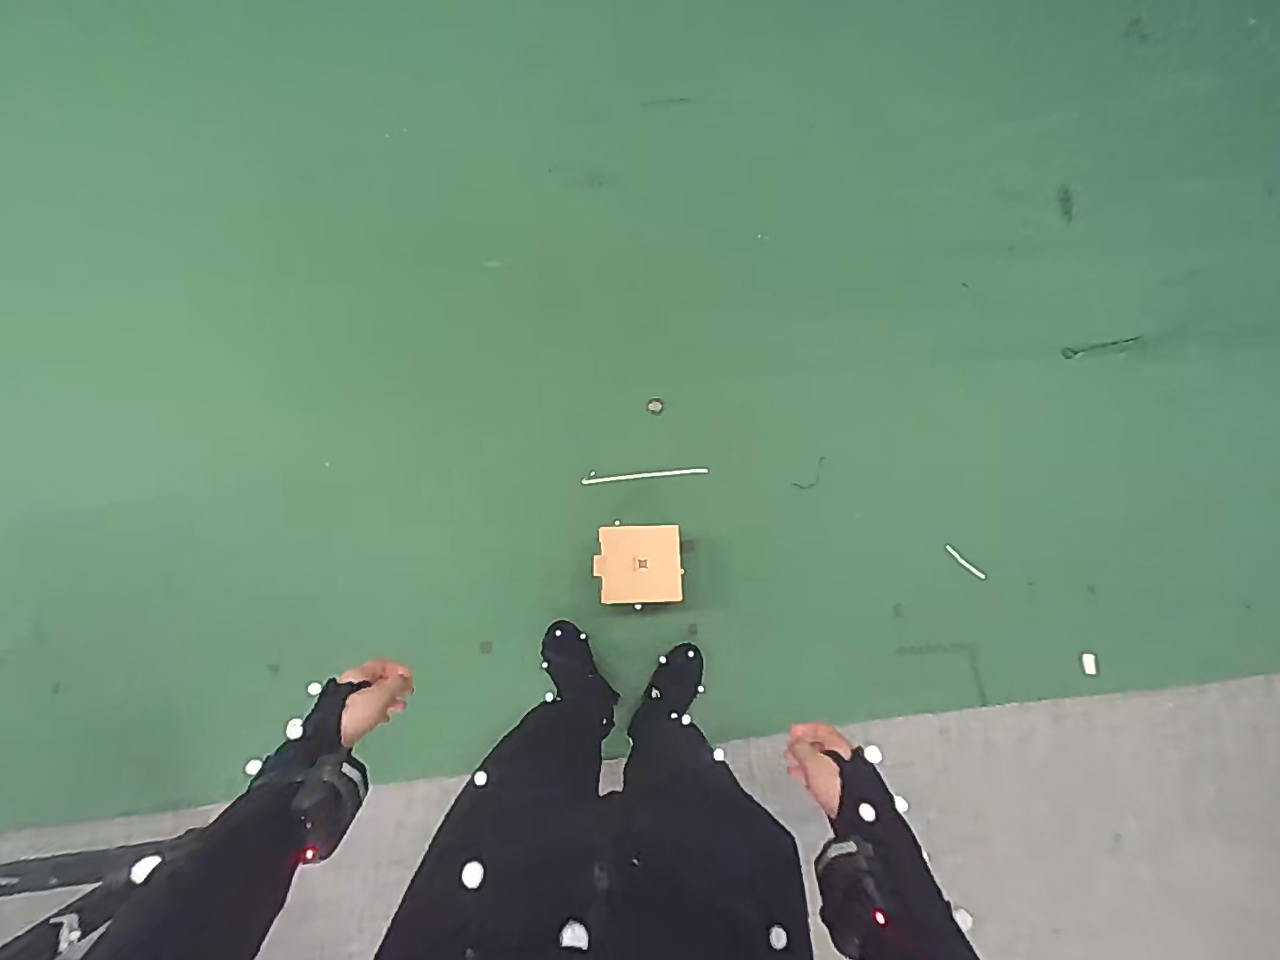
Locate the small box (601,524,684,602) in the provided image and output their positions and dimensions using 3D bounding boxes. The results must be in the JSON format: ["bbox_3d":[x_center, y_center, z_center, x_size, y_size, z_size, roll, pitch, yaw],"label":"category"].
[{"bbox_3d":[0.002,0.187,1.239,0.179,0.176,0.168,-2,82,-1],"label":"small box"}]
